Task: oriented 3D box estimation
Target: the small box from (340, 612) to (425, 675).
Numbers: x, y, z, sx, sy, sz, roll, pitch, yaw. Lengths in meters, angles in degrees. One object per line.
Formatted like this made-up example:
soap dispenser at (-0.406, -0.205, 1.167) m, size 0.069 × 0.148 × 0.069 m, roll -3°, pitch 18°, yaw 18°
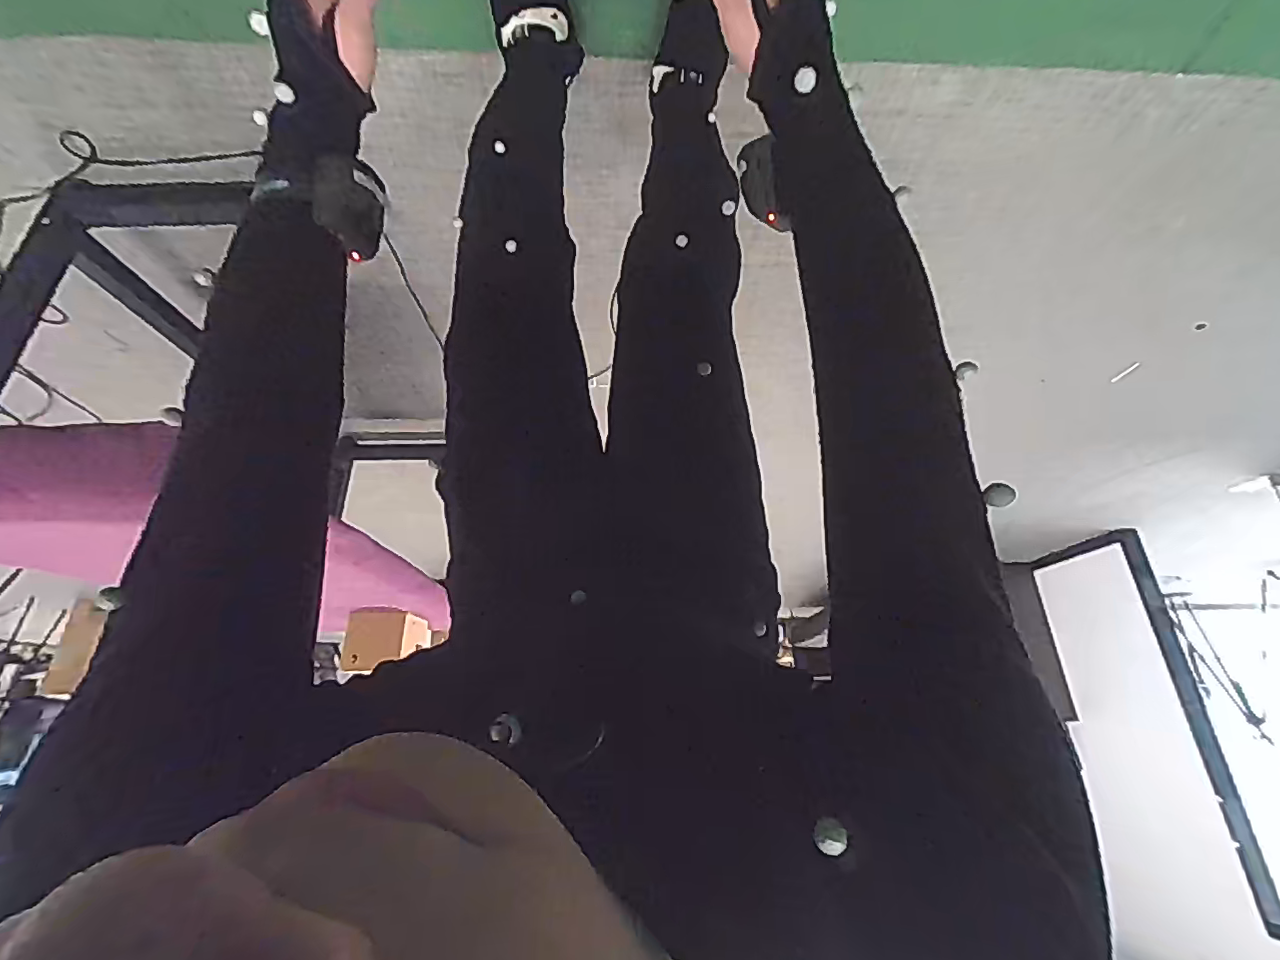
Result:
small box at (-0.759, 0.491, 1.617) m, size 0.179 × 0.176 × 0.168 m, roll 0°, pitch 157°, yaw 1°
